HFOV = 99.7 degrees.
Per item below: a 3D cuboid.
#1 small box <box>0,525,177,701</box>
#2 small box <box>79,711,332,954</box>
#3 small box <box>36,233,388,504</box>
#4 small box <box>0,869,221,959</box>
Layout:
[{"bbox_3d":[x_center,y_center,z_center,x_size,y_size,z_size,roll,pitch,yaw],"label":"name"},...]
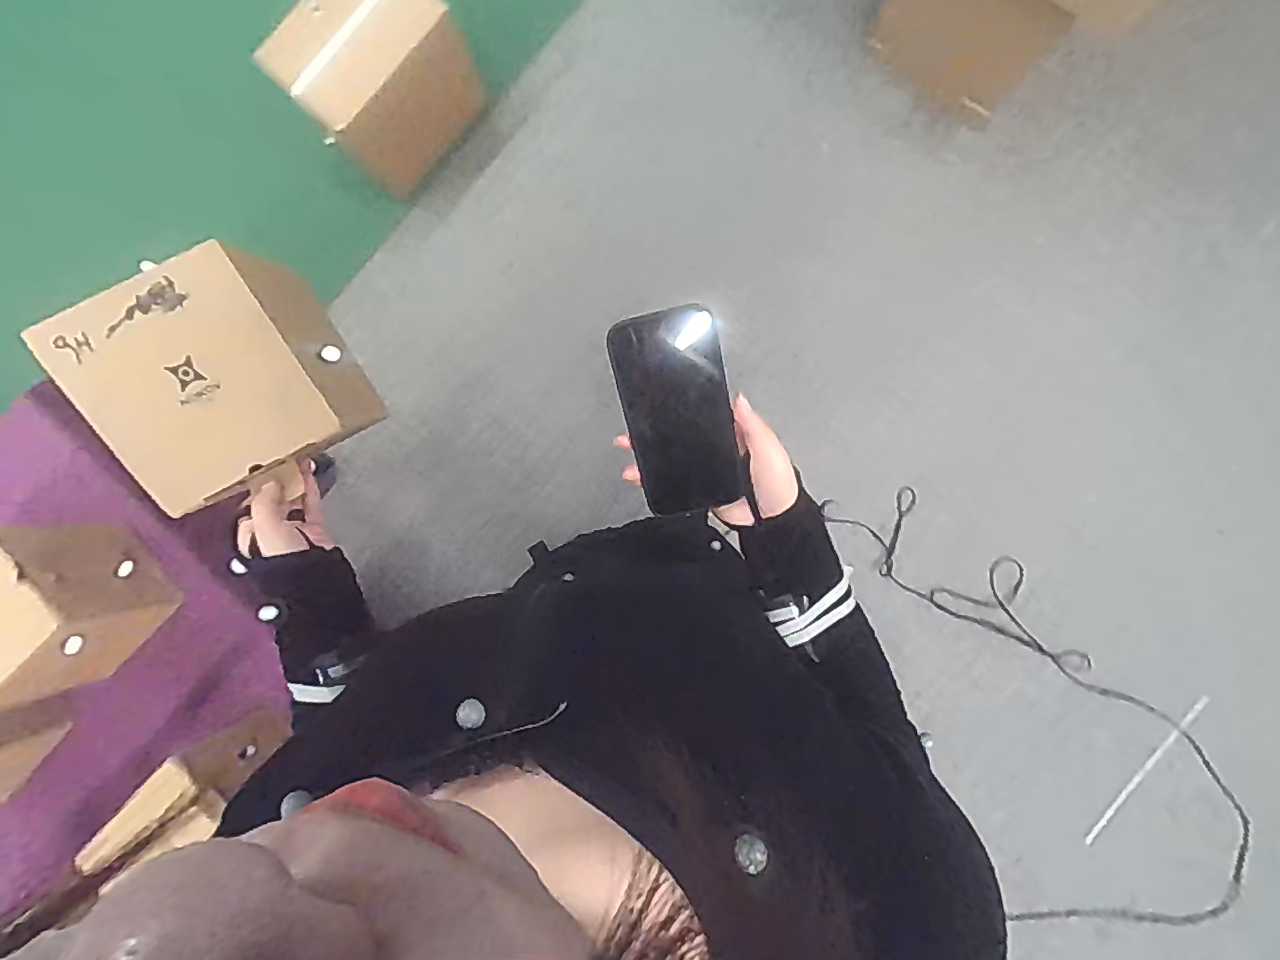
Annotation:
[{"bbox_3d":[-0.822,0.180,0.757,0.179,0.176,0.168,-44,85,1],"label":"small box"},{"bbox_3d":[-0.556,0.448,0.724,0.168,0.176,0.179,43,92,6],"label":"small box"},{"bbox_3d":[-0.378,-0.105,0.525,0.168,0.176,0.179,-28,105,-4],"label":"small box"},{"bbox_3d":[-0.727,0.626,0.726,0.179,0.176,0.168,-43,85,1],"label":"small box"}]
